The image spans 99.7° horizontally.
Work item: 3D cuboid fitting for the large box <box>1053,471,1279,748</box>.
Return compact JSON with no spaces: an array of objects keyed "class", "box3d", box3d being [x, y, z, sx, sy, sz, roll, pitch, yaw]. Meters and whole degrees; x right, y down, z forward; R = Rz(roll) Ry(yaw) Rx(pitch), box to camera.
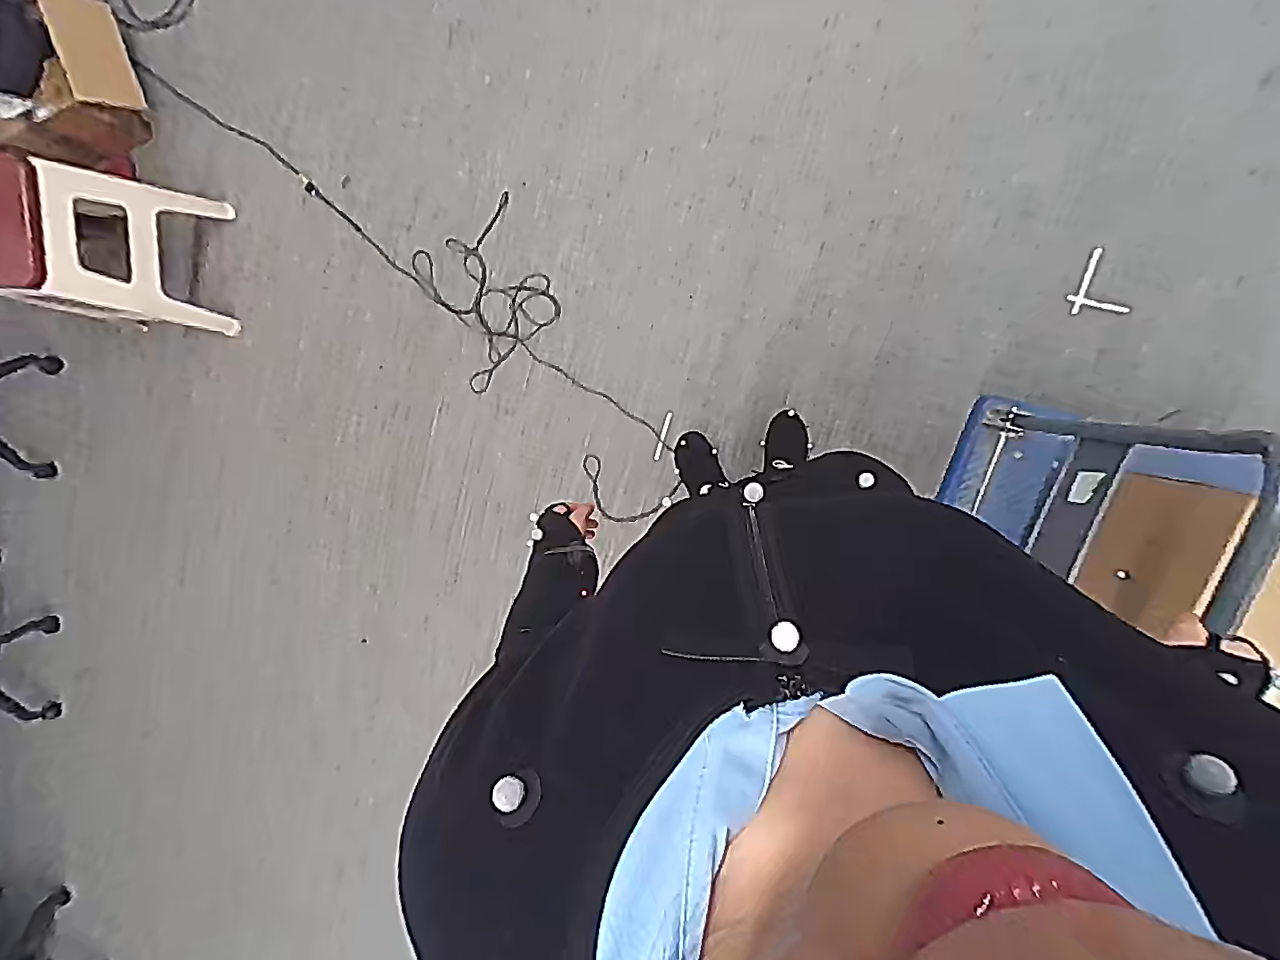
[{"class":"large box","box3d":[1.093,0.229,1.025,0.320,0.320,0.408,18,100,7]}]
